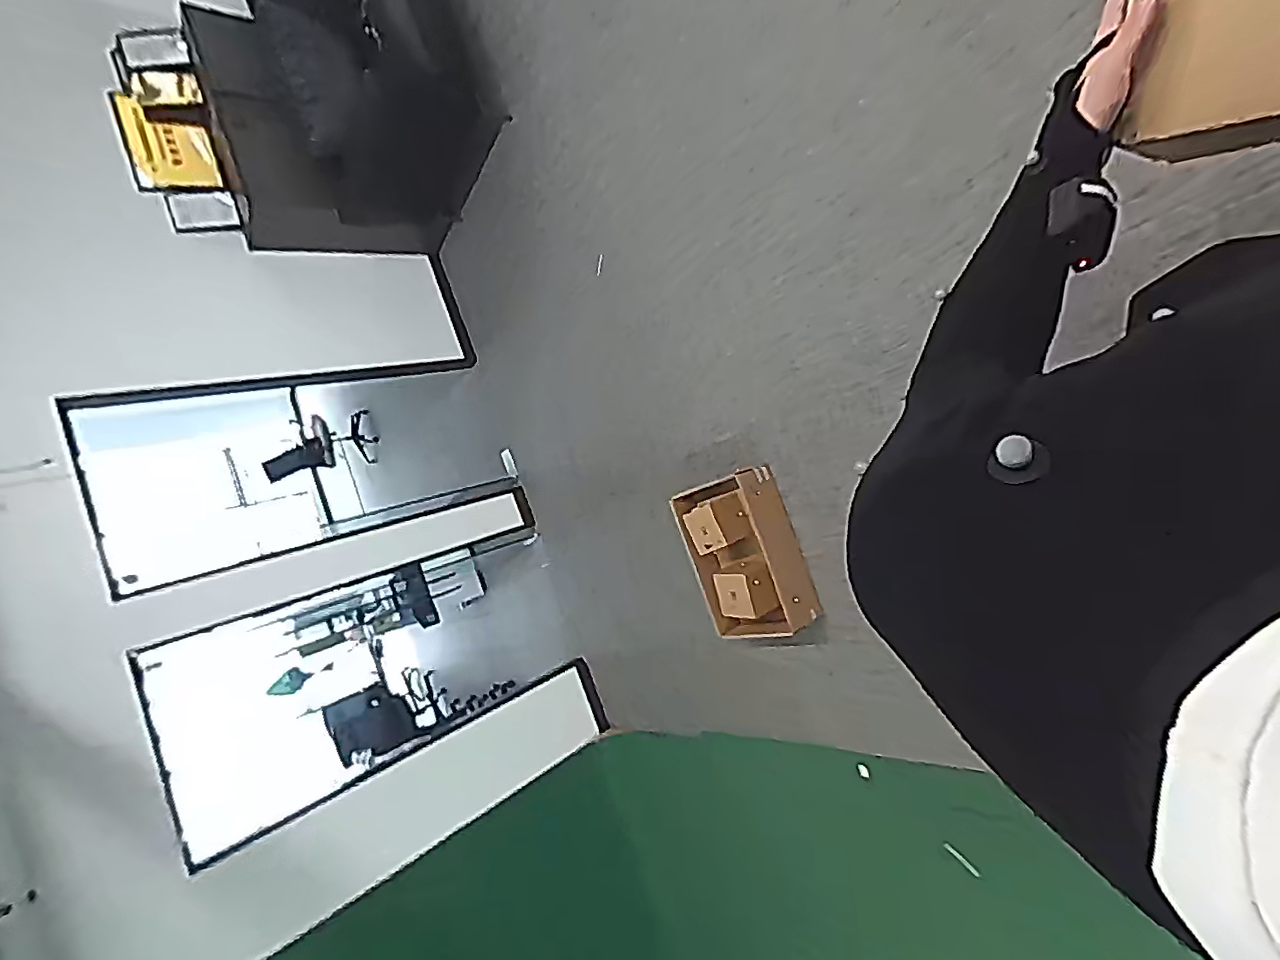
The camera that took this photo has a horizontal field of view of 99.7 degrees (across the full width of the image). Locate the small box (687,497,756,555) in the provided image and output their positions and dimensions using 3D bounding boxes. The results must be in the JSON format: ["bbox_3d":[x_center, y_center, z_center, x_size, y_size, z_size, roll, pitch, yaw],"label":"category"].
[{"bbox_3d":[0.324,0.176,2.137,0.168,0.176,0.179,-32,79,50],"label":"small box"}]
